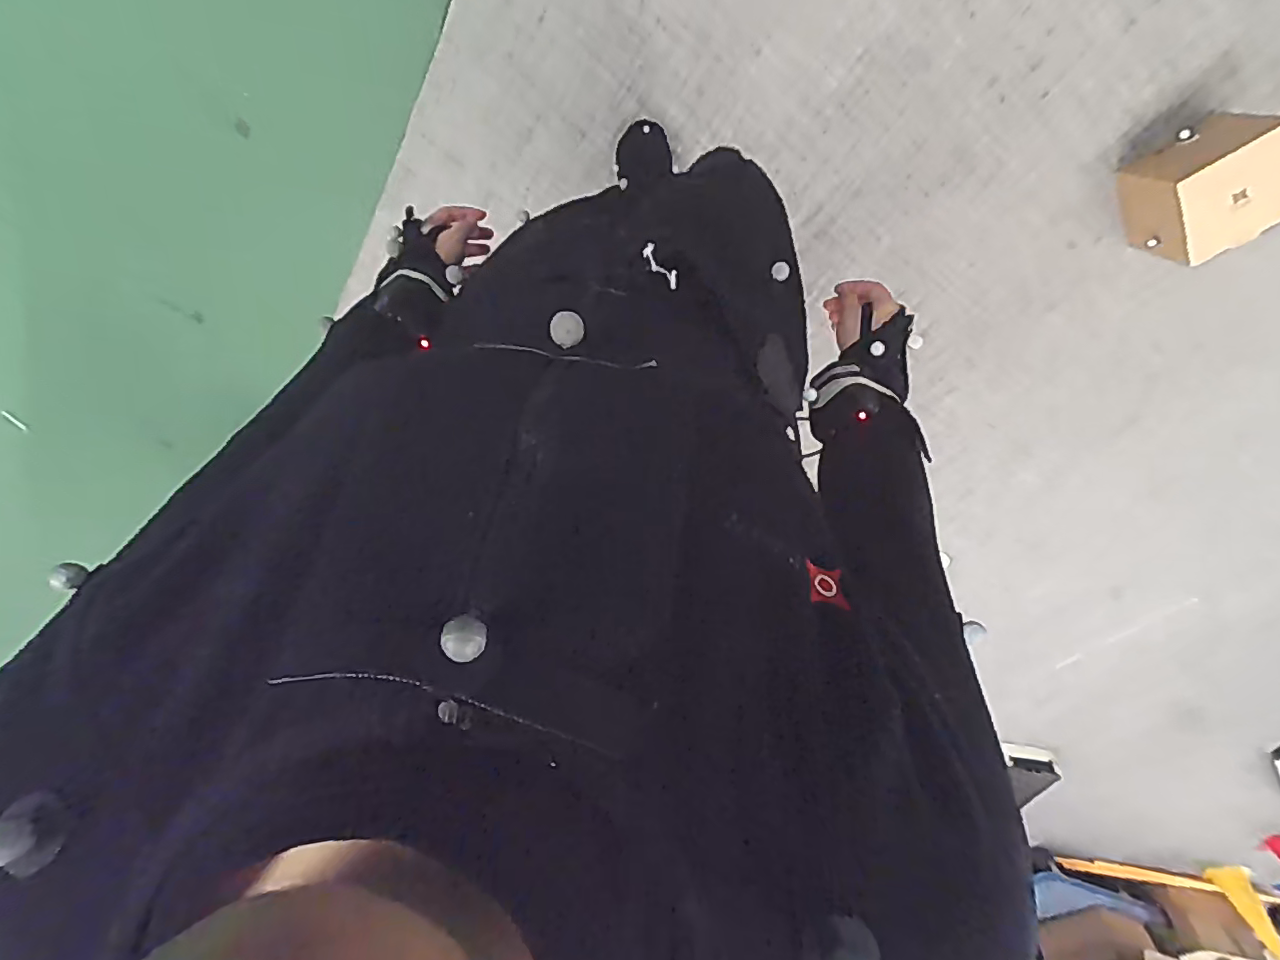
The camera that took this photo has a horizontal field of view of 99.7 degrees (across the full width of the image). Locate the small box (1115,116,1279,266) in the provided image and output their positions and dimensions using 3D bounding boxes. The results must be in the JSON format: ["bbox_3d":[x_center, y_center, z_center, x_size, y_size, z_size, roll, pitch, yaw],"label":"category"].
[{"bbox_3d":[1.030,-0.533,0.992,0.168,0.176,0.179,-31,117,23],"label":"small box"}]
